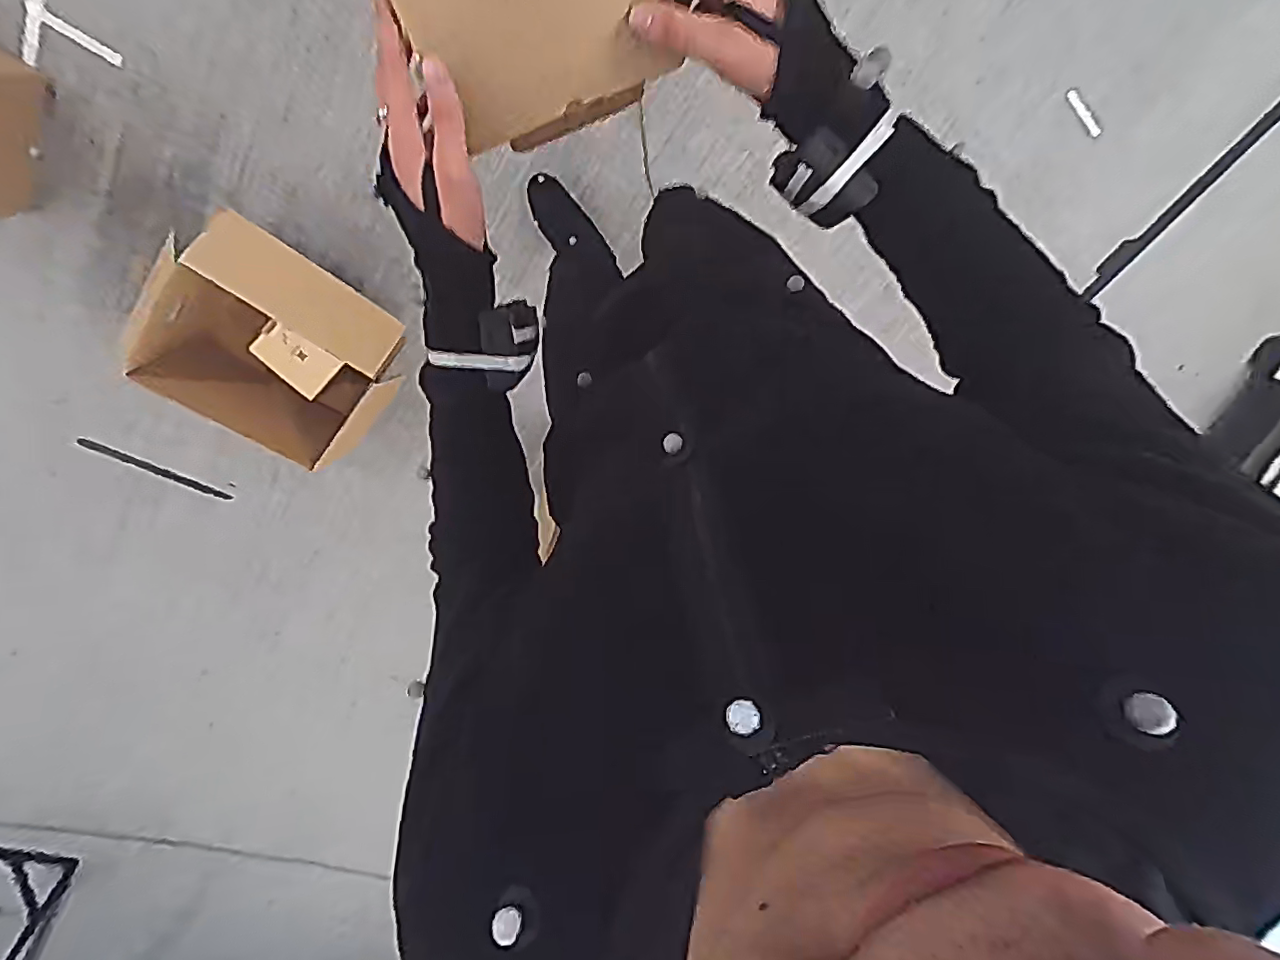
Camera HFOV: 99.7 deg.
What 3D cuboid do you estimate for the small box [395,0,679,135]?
[{"bbox_3d":[-0.088,-0.371,0.357,0.168,0.176,0.179,-21,136,2],"label":"small box"}]
